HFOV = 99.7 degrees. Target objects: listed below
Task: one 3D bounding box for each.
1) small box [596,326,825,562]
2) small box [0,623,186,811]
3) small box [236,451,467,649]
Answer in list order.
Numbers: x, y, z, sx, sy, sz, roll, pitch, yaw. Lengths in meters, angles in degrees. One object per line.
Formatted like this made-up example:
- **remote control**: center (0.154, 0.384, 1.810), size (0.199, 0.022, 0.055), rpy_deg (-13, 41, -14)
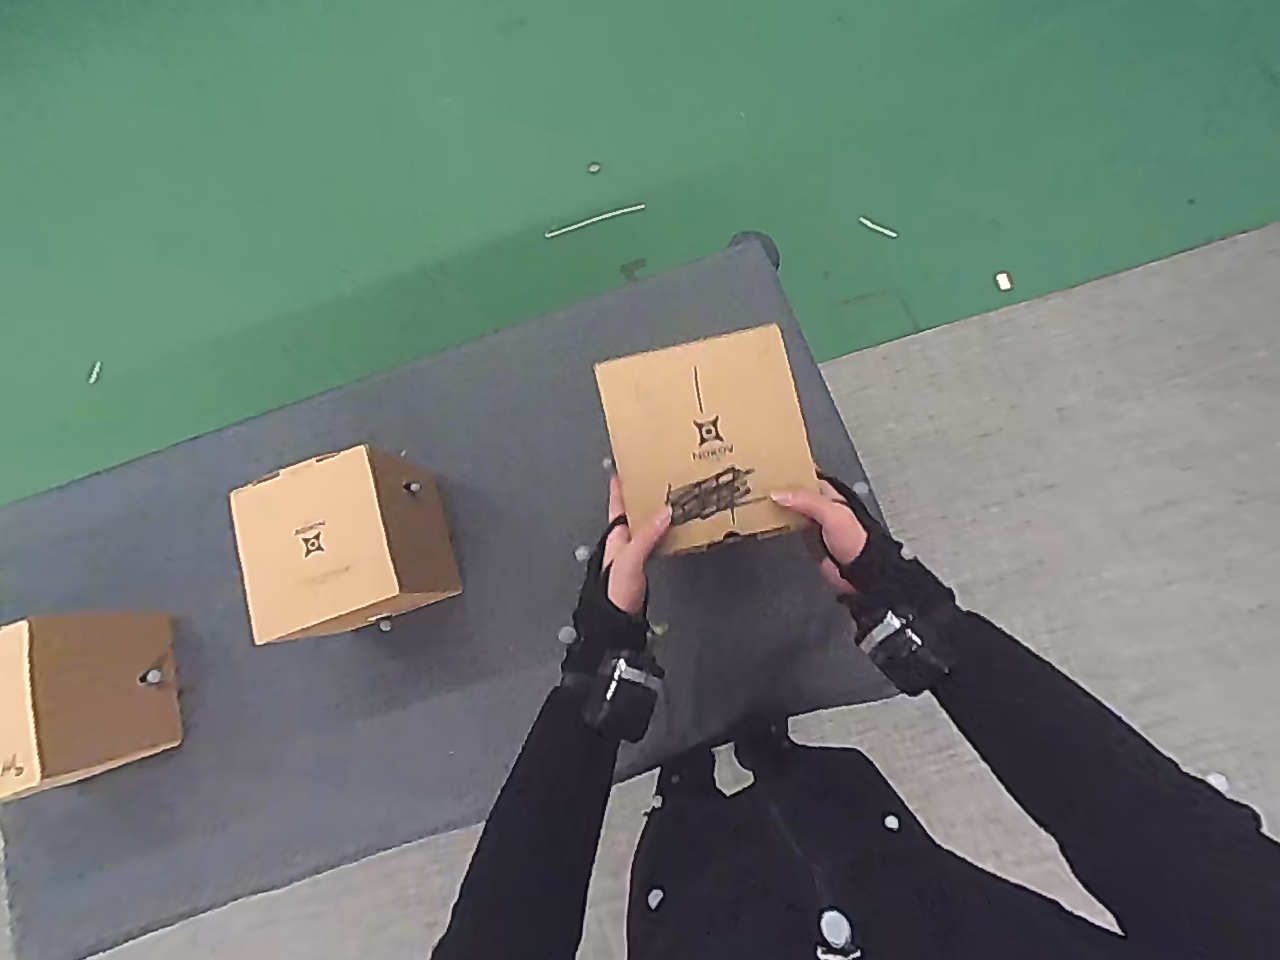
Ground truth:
- **small box**: center (0.060, -0.028, 0.535), size (0.168, 0.176, 0.179), rpy_deg (-13, 86, -1)
- **small box**: center (-0.697, 0.281, 0.646), size (0.168, 0.176, 0.179), rpy_deg (-20, 77, 1)
- **small box**: center (-0.337, 0.088, 0.659), size (0.168, 0.176, 0.179), rpy_deg (-21, 79, 2)
